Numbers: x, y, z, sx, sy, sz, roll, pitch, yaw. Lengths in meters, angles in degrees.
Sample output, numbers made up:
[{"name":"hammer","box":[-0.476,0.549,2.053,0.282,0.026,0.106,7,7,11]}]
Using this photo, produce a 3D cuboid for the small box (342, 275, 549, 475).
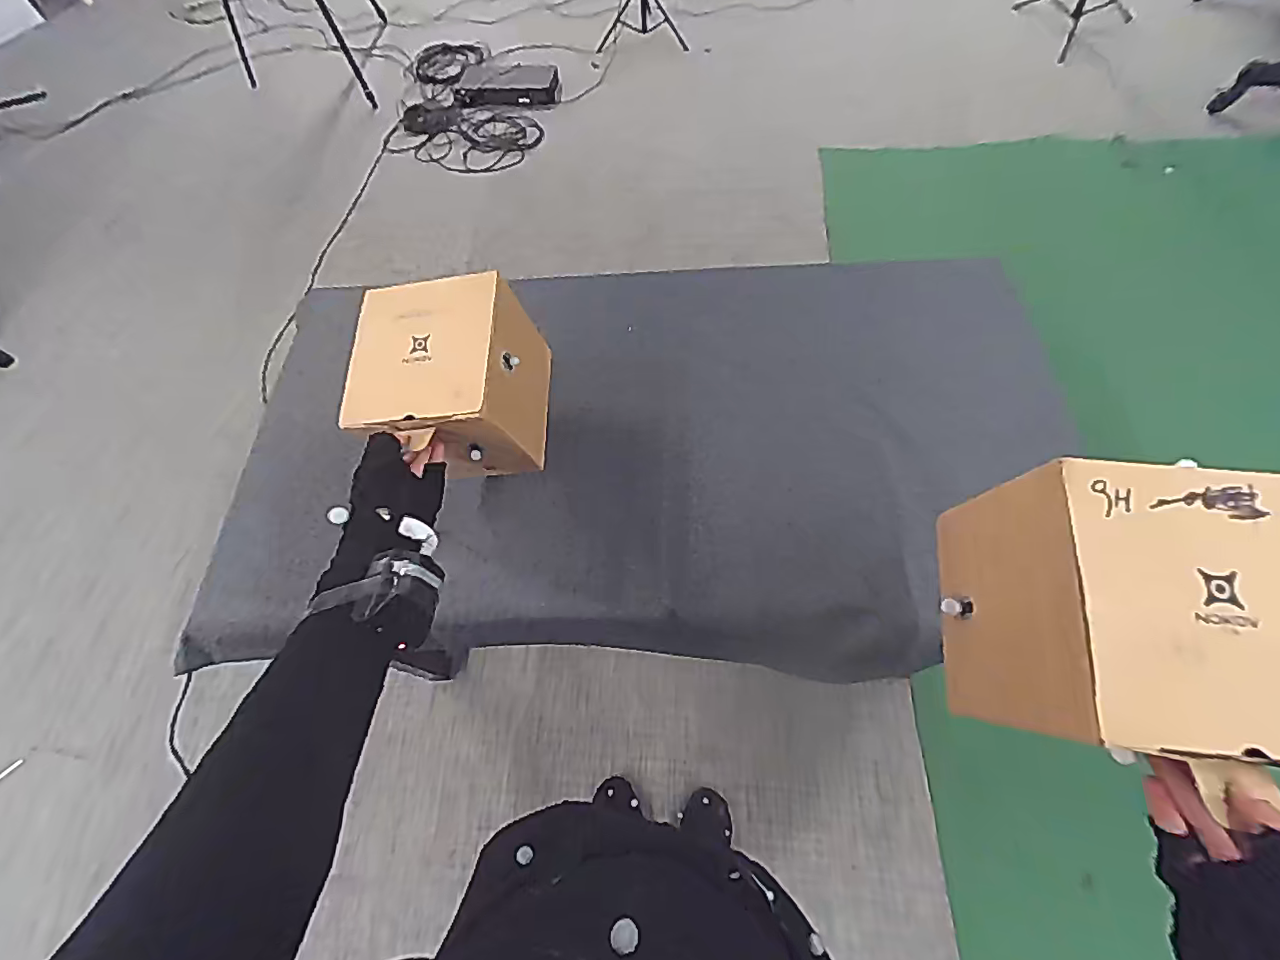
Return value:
[{"name":"small box","box":[-0.216,-0.111,0.651,0.168,0.176,0.179,-4,68,10]}]

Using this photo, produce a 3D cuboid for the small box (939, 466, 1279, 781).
[{"name":"small box","box":[0.346,0.103,0.400,0.168,0.176,0.179,5,74,2]}]
